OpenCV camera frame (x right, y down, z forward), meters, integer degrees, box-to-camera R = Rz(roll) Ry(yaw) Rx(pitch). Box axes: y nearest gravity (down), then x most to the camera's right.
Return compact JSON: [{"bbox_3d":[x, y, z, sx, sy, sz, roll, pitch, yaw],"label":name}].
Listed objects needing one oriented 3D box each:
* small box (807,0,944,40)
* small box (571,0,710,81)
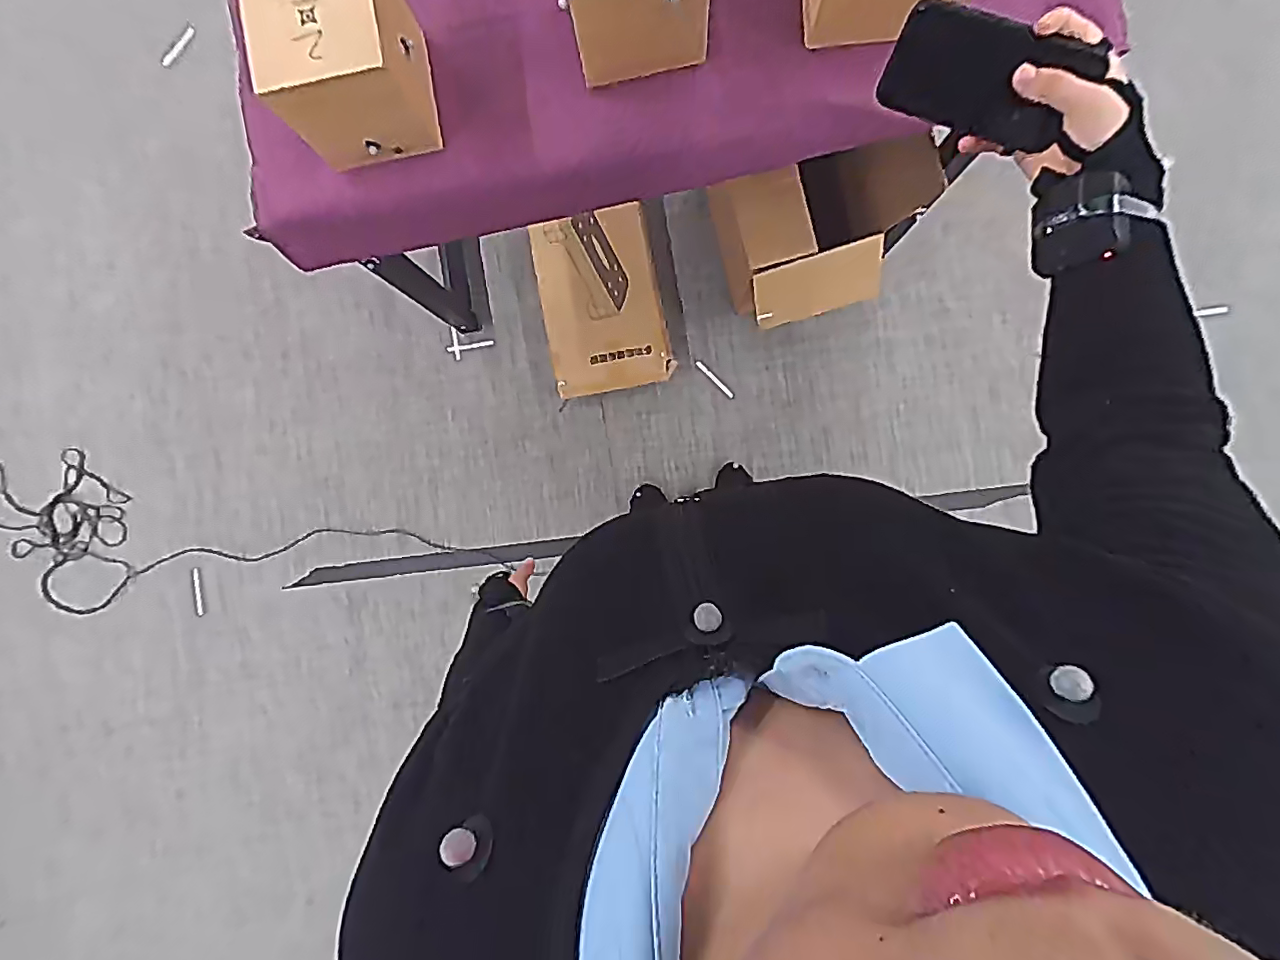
[{"bbox_3d":[0.310,-0.696,0.674,0.179,0.176,0.168,-3,90,3],"label":"small box"},{"bbox_3d":[-0.006,-0.663,0.692,0.179,0.176,0.168,-10,87,4],"label":"small box"}]
